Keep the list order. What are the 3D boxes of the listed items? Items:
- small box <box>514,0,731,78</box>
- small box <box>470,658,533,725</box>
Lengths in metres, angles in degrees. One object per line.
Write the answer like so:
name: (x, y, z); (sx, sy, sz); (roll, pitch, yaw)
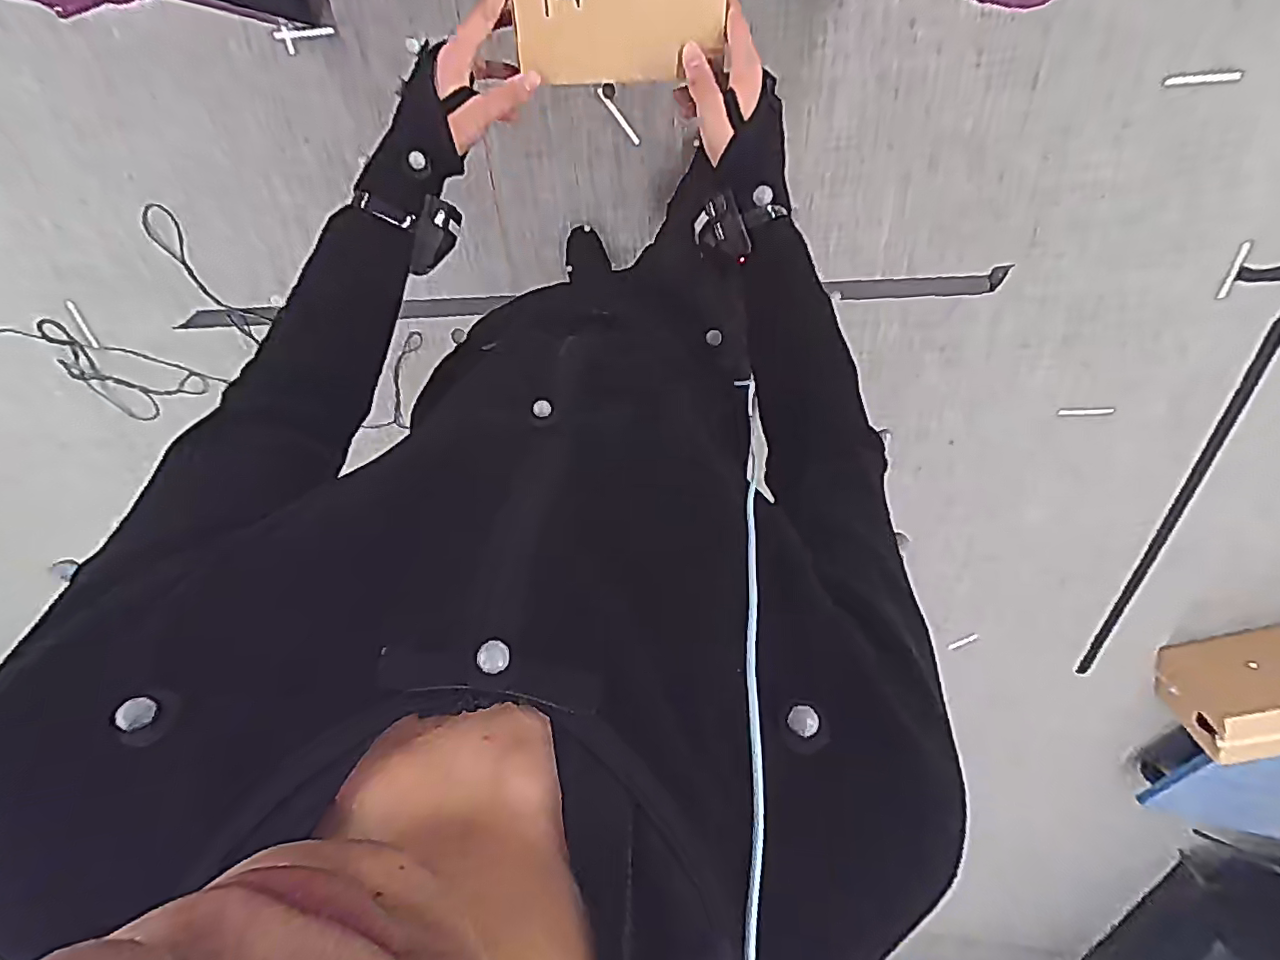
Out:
small box: (-0.015, -0.455, 0.472); (0.179, 0.176, 0.168); (-2, 128, -1)
small box: (-0.508, 0.780, 2.003); (0.179, 0.176, 0.168); (0, 121, 3)
